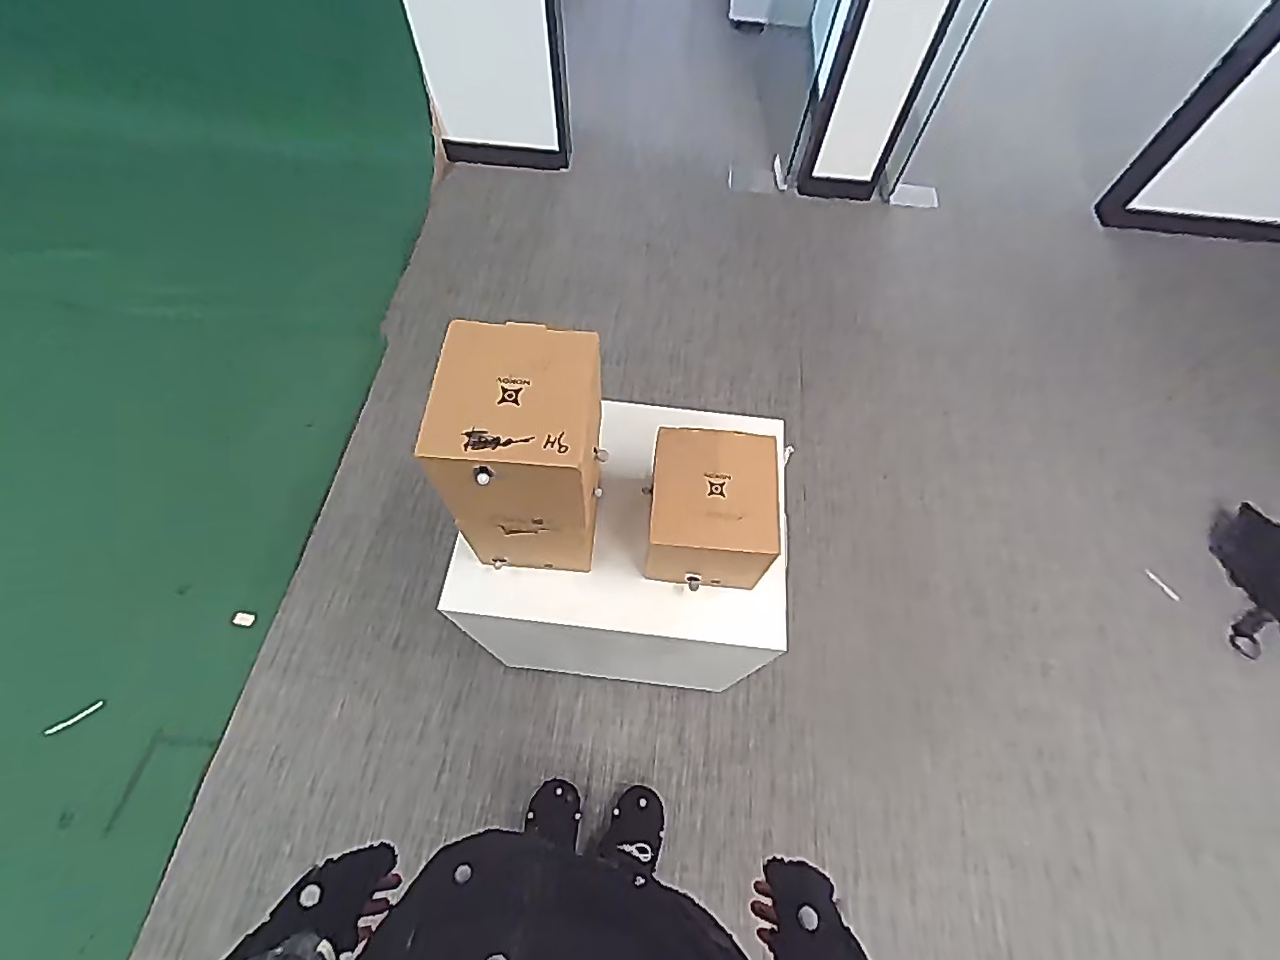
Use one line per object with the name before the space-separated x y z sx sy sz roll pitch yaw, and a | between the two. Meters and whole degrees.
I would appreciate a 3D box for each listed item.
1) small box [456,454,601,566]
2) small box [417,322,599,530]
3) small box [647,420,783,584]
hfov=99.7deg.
small box | -0.147 0.016 0.783 0.168 0.176 0.179 4 62 0
small box | -0.137 -0.058 0.639 0.168 0.176 0.179 4 62 0
small box | 0.098 0.036 0.767 0.168 0.176 0.179 3 65 1
